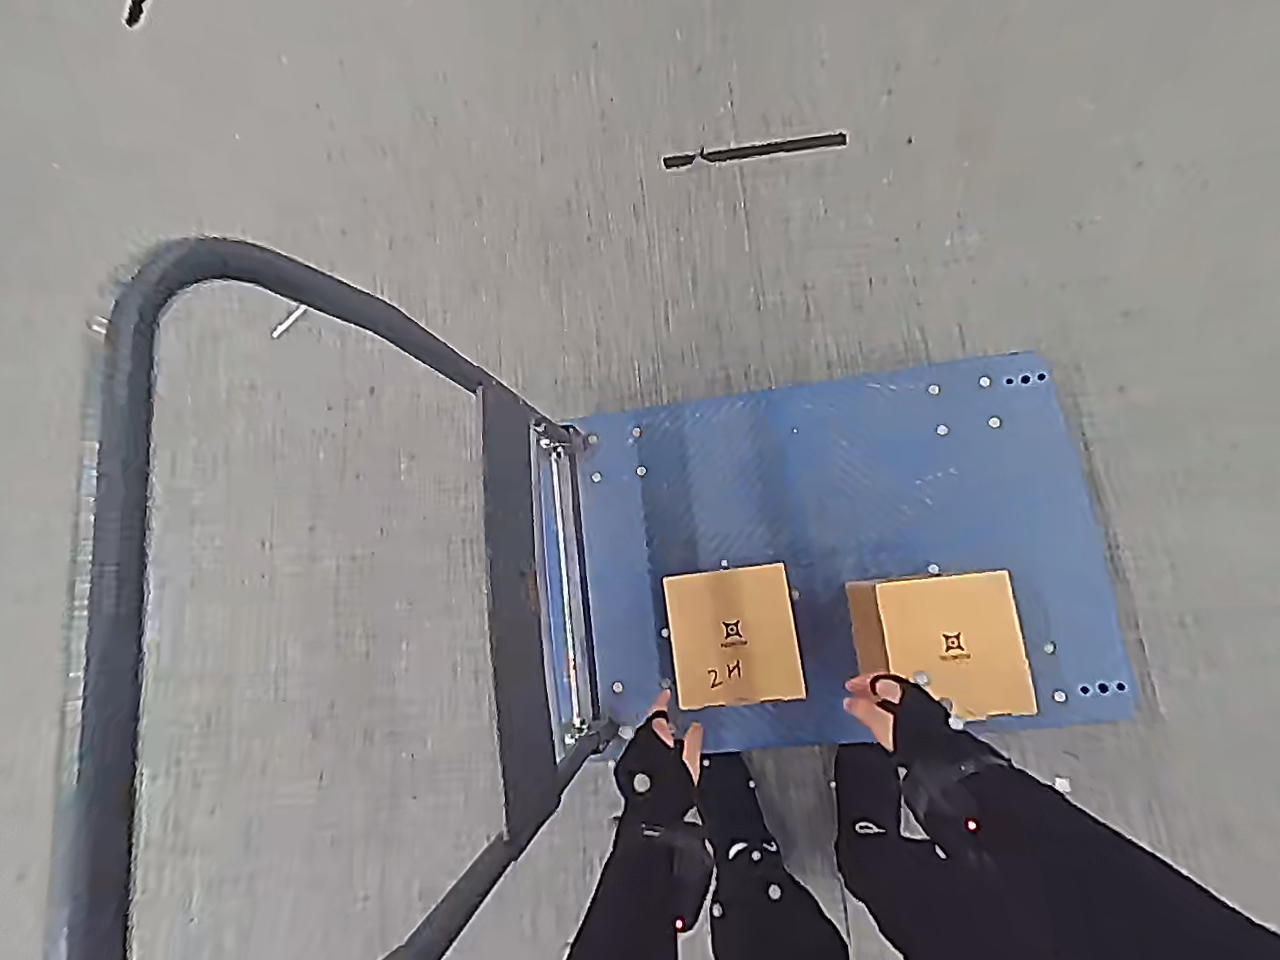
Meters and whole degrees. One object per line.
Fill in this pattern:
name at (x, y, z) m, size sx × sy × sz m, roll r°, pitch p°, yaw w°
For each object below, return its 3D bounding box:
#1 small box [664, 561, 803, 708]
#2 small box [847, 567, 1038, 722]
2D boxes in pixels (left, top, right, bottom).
small box at (0.130, 0.217, 0.791) m, size 0.168 × 0.176 × 0.179 m, roll -8°, pitch 80°, yaw 7°
small box at (0.402, 0.220, 0.754) m, size 0.168 × 0.176 × 0.179 m, roll -8°, pitch 80°, yaw 7°
